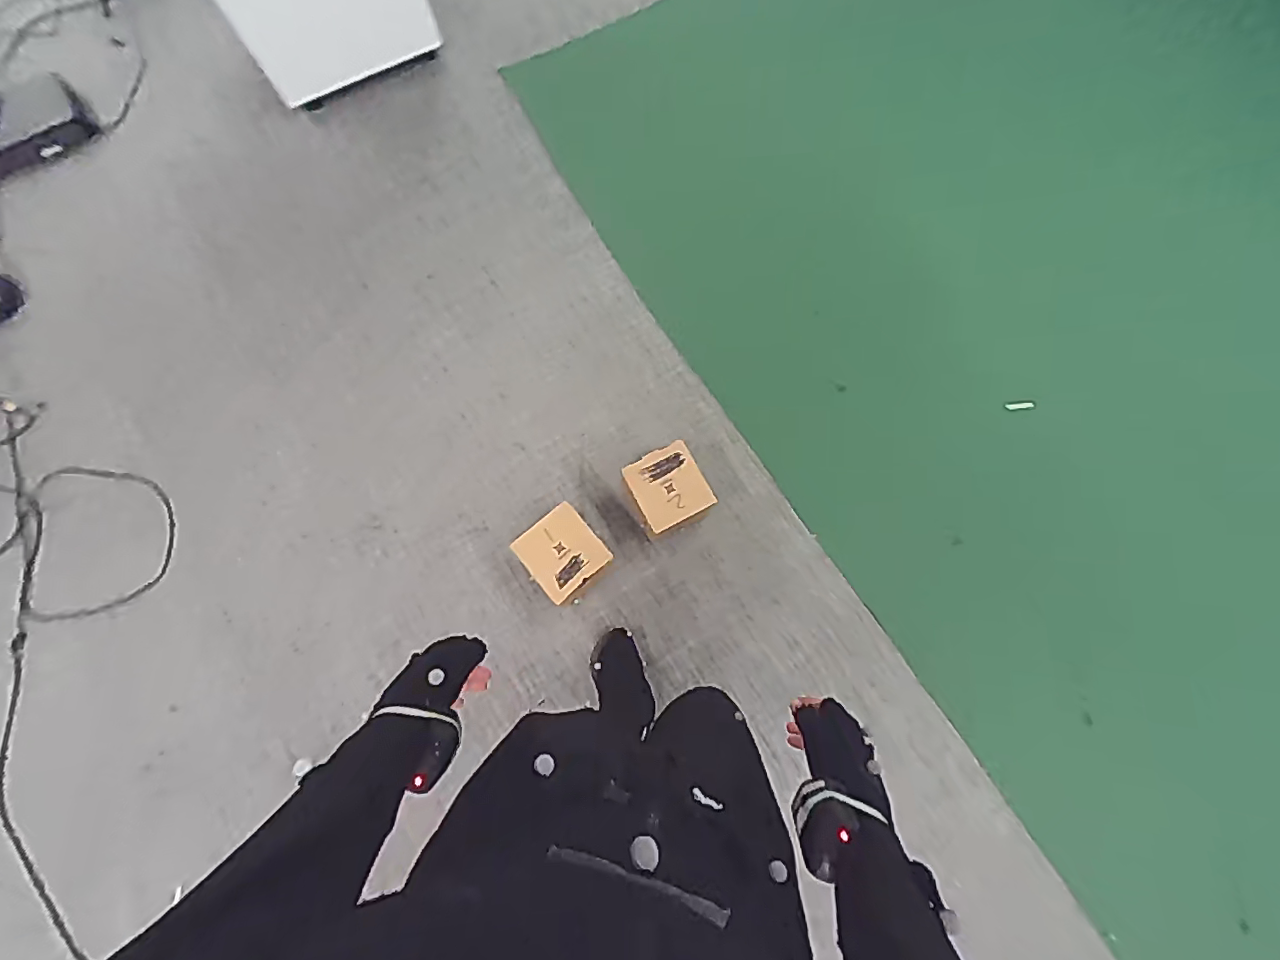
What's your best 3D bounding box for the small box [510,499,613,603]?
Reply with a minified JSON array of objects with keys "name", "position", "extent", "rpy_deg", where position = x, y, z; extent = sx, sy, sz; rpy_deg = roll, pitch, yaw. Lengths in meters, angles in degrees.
[{"name":"small box","position":[-0.177,0.174,1.283],"extent":[0.168,0.176,0.179],"rpy_deg":[-39,79,-10]}]
